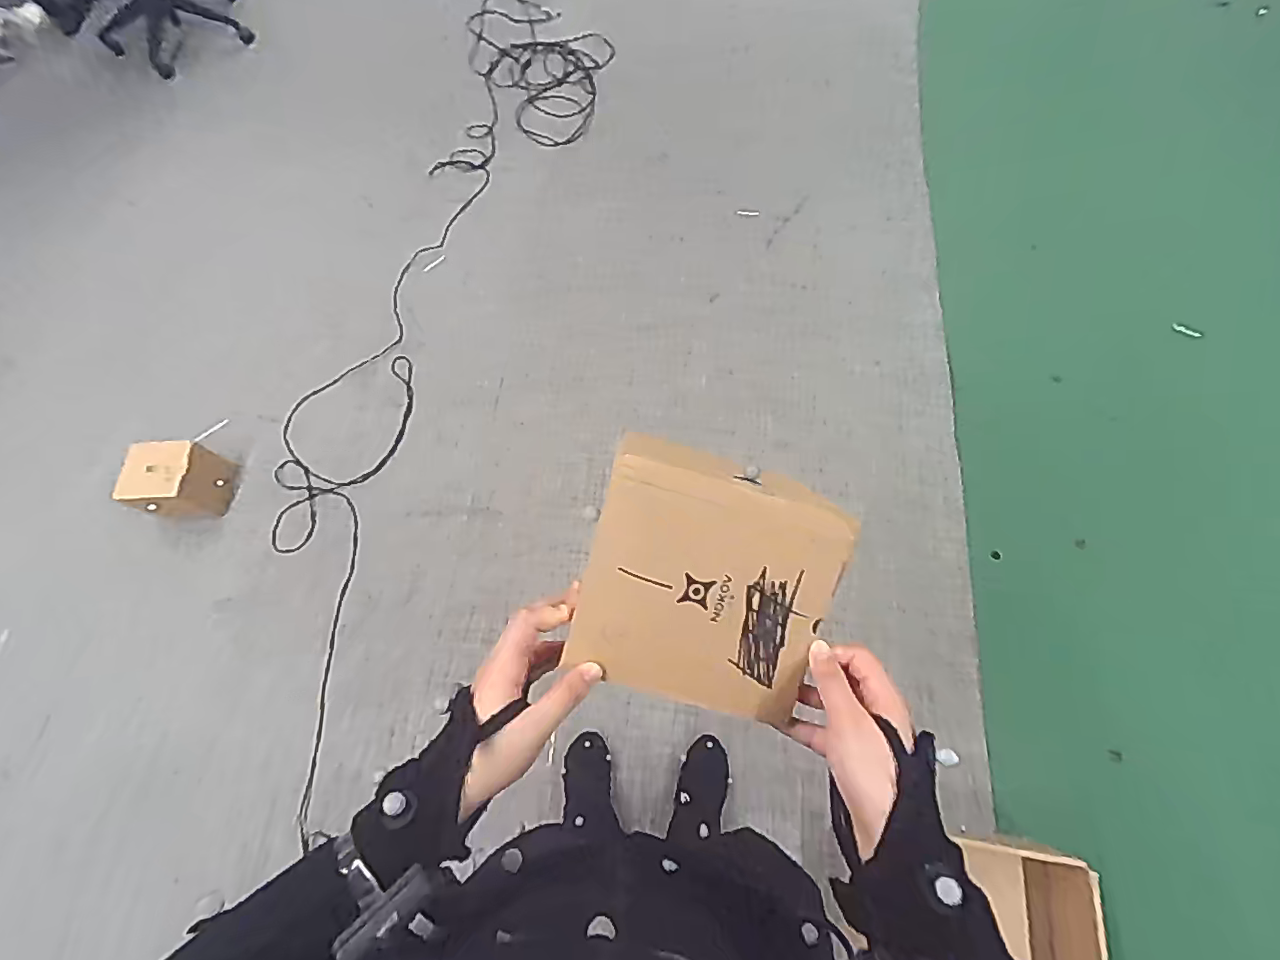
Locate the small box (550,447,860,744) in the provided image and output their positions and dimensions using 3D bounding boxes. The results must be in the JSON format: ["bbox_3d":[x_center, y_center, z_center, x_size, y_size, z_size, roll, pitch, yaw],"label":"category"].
[{"bbox_3d":[0.043,0.075,0.447,0.179,0.176,0.168,16,99,-1],"label":"small box"}]

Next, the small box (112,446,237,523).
[{"bbox_3d":[-1.282,0.017,1.503,0.179,0.176,0.168,-3,68,2],"label":"small box"}]
